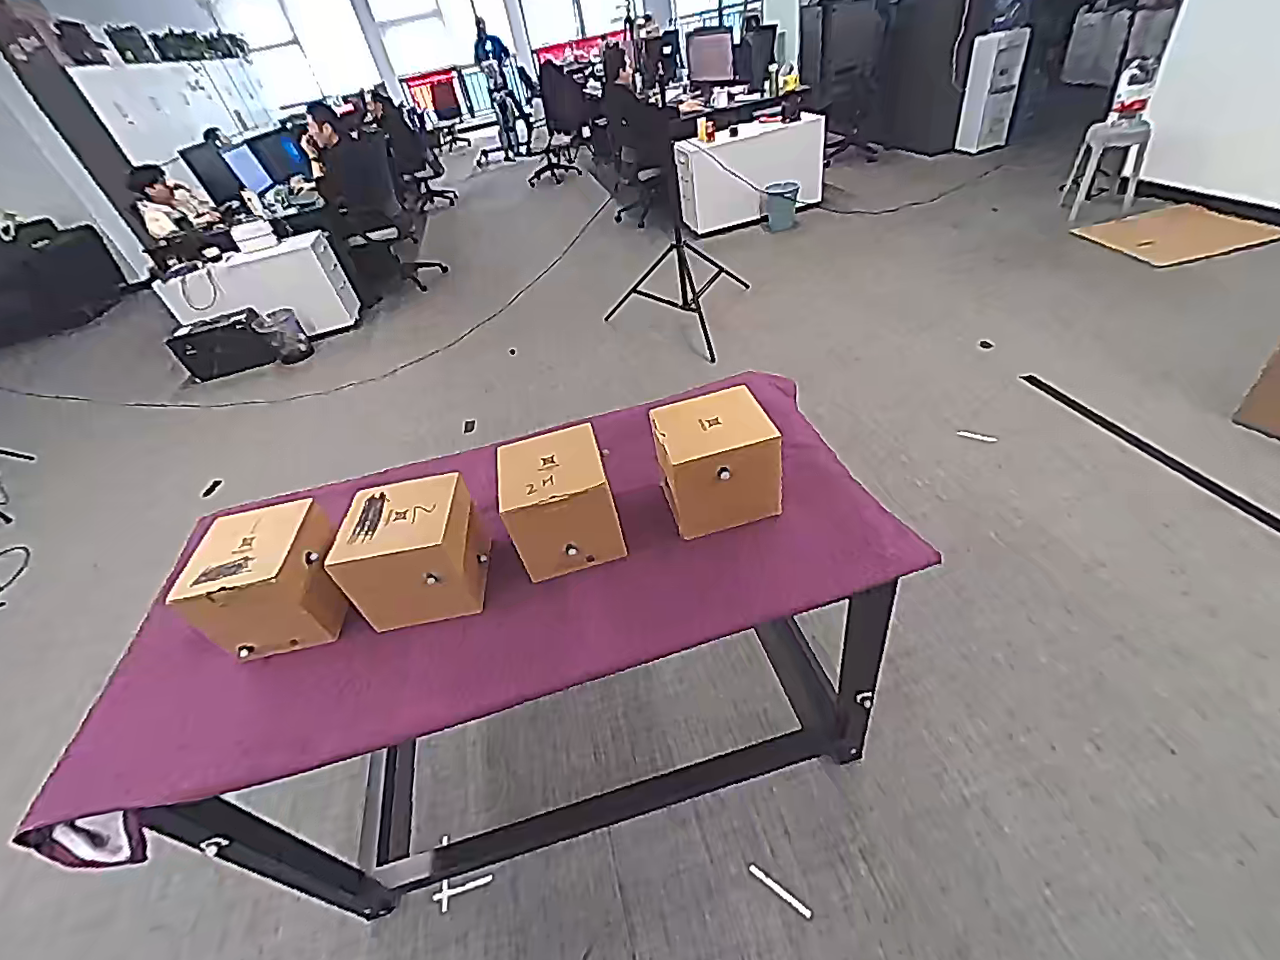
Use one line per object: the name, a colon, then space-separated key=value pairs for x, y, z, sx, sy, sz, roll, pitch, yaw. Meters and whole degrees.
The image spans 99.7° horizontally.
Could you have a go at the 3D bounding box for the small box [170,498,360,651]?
small box: x=-0.593 y=0.161 z=0.888 sx=0.168 sy=0.176 sz=0.179 roll=-12 pitch=41 yaw=0

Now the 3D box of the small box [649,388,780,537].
small box: x=0.126 y=-0.030 z=0.924 sx=0.179 sy=0.176 sz=0.168 roll=-15 pitch=38 yaw=-3

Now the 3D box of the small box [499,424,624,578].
small box: x=-0.133 y=0.035 z=0.917 sx=0.168 sy=0.176 sz=0.179 roll=-16 pitch=40 yaw=-3
